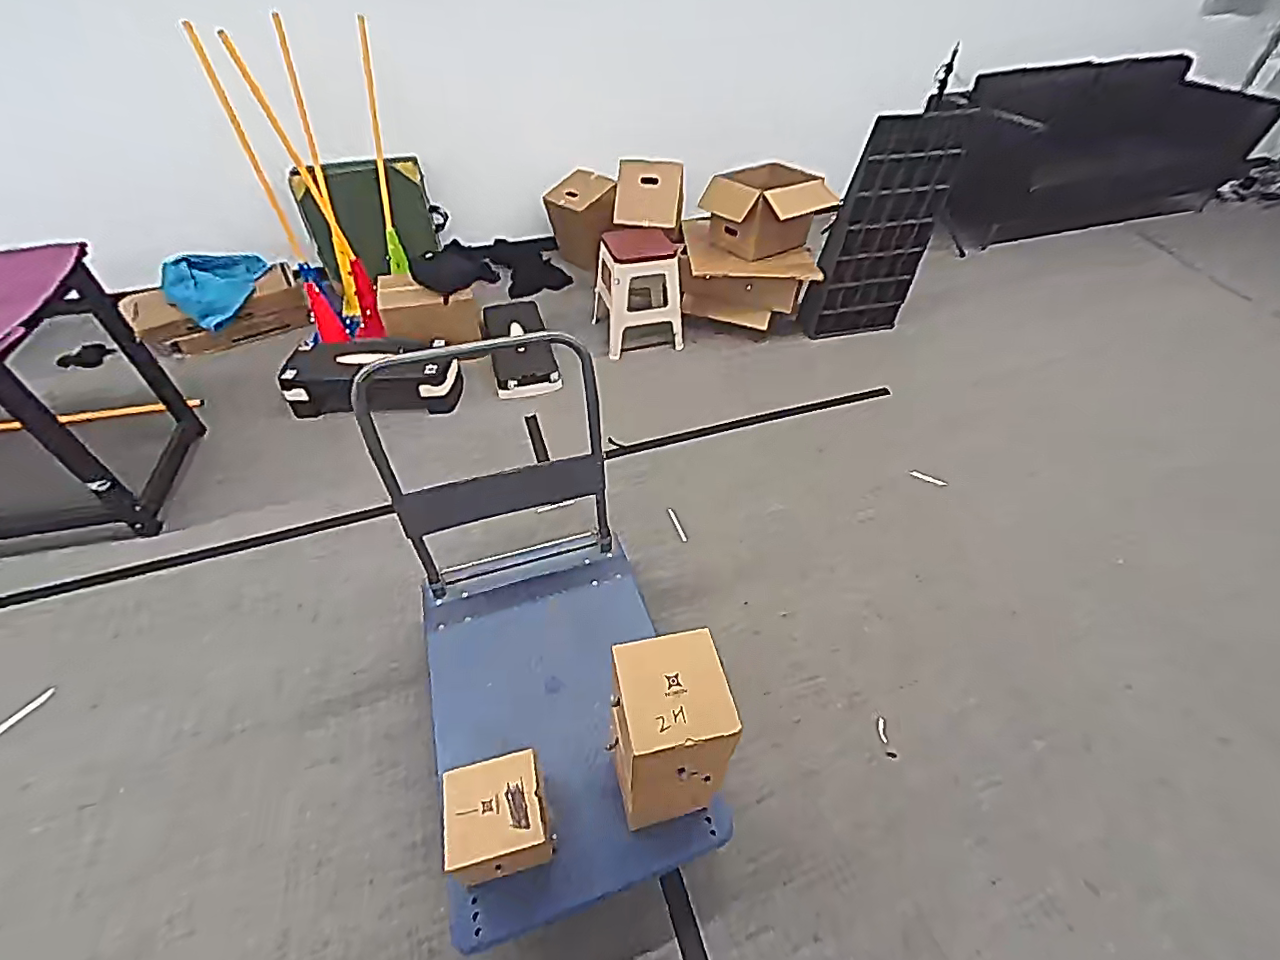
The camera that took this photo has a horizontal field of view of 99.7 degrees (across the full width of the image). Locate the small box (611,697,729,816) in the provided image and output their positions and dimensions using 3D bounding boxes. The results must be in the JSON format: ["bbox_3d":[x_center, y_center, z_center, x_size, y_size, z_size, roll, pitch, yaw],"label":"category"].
[{"bbox_3d":[0.048,0.497,1.001,0.179,0.176,0.168,-8,47,-11],"label":"small box"}]

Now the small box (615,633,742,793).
[{"bbox_3d":[0.051,0.380,0.885,0.168,0.176,0.179,-8,47,-9],"label":"small box"}]

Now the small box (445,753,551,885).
[{"bbox_3d":[-0.272,0.663,1.058,0.179,0.176,0.168,-10,47,-10],"label":"small box"}]
